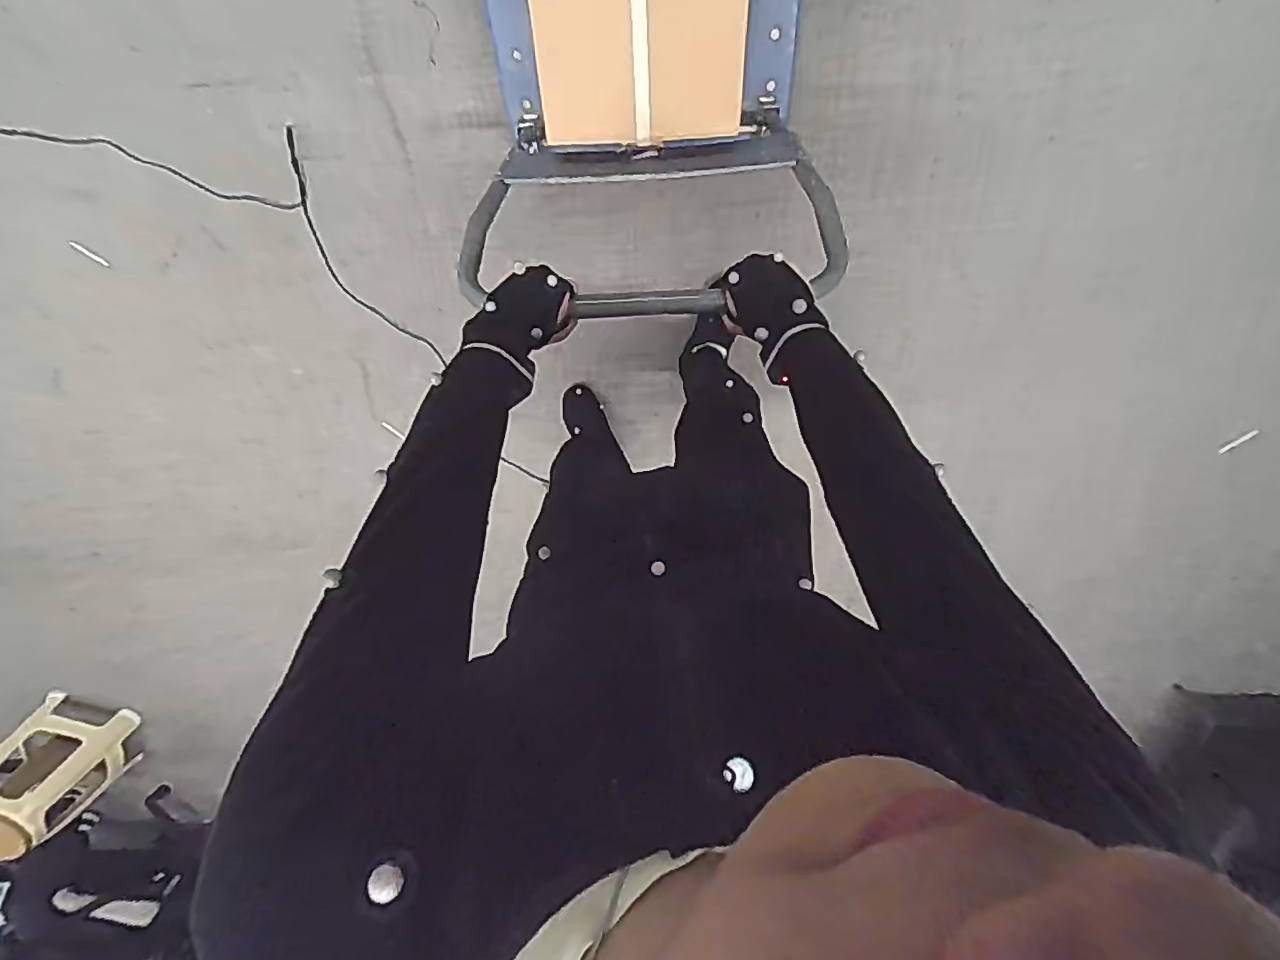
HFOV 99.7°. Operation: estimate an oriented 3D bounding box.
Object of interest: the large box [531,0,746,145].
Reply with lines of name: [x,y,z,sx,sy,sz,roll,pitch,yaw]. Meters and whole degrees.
large box: [0.000,-0.807,0.872,0.320,0.320,0.408,-1,131,3]
